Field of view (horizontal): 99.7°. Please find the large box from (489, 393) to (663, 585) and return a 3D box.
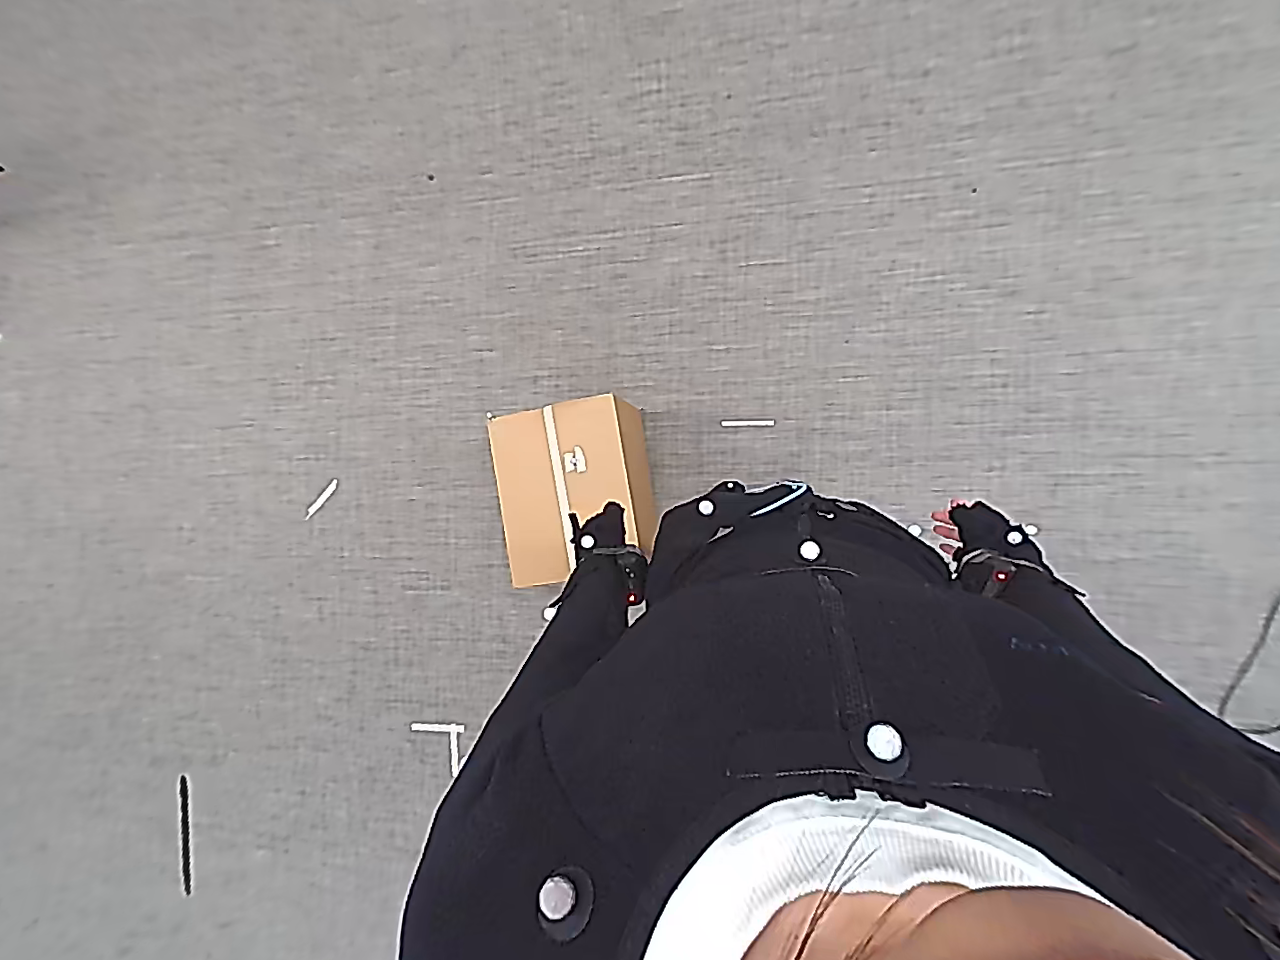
[{"bbox_3d":[-0.146,0.028,1.384,0.320,0.320,0.408,-10,87,10],"label":"large box"}]
